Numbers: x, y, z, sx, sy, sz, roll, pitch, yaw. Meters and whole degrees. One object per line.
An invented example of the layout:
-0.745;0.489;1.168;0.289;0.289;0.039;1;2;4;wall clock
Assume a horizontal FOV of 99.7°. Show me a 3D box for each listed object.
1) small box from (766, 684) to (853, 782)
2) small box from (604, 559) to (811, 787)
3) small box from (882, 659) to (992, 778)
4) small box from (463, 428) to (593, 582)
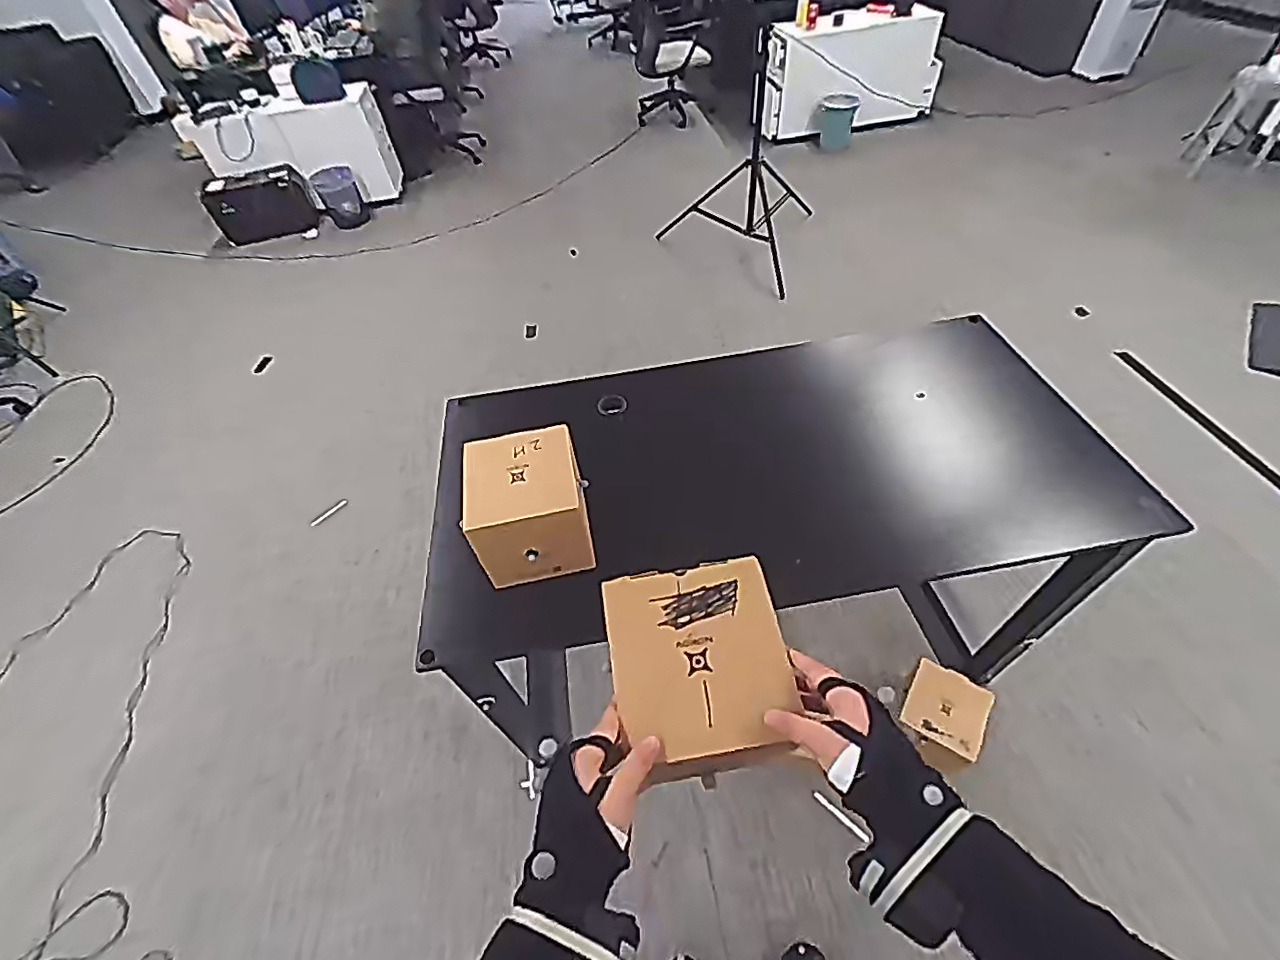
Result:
0.400;0.607;1.296;0.179;0.176;0.168;6;50;12;small box
0.059;0.209;0.574;0.168;0.176;0.179;-10;56;-2;small box
0.701;0.570;1.291;0.168;0.176;0.179;25;57;25;small box
-0.176;0.047;0.868;0.168;0.176;0.179;-11;50;-4;small box
